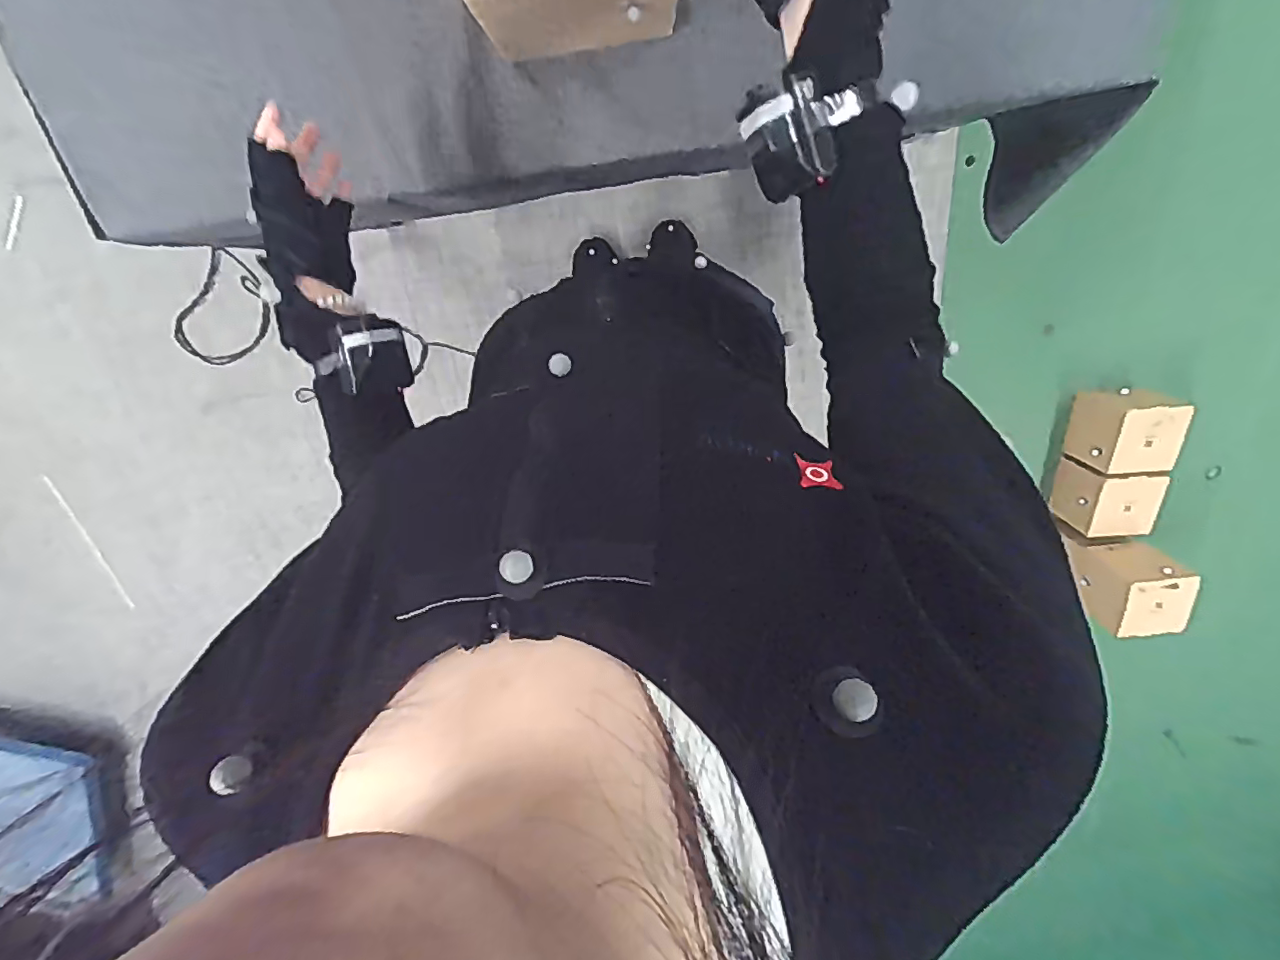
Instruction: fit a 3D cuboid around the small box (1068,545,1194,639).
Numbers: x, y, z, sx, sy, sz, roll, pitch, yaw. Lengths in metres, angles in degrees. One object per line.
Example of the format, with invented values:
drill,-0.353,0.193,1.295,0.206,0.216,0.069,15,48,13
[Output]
small box,1.292,0.295,1.440,0.168,0.176,0.179,-6,115,2
